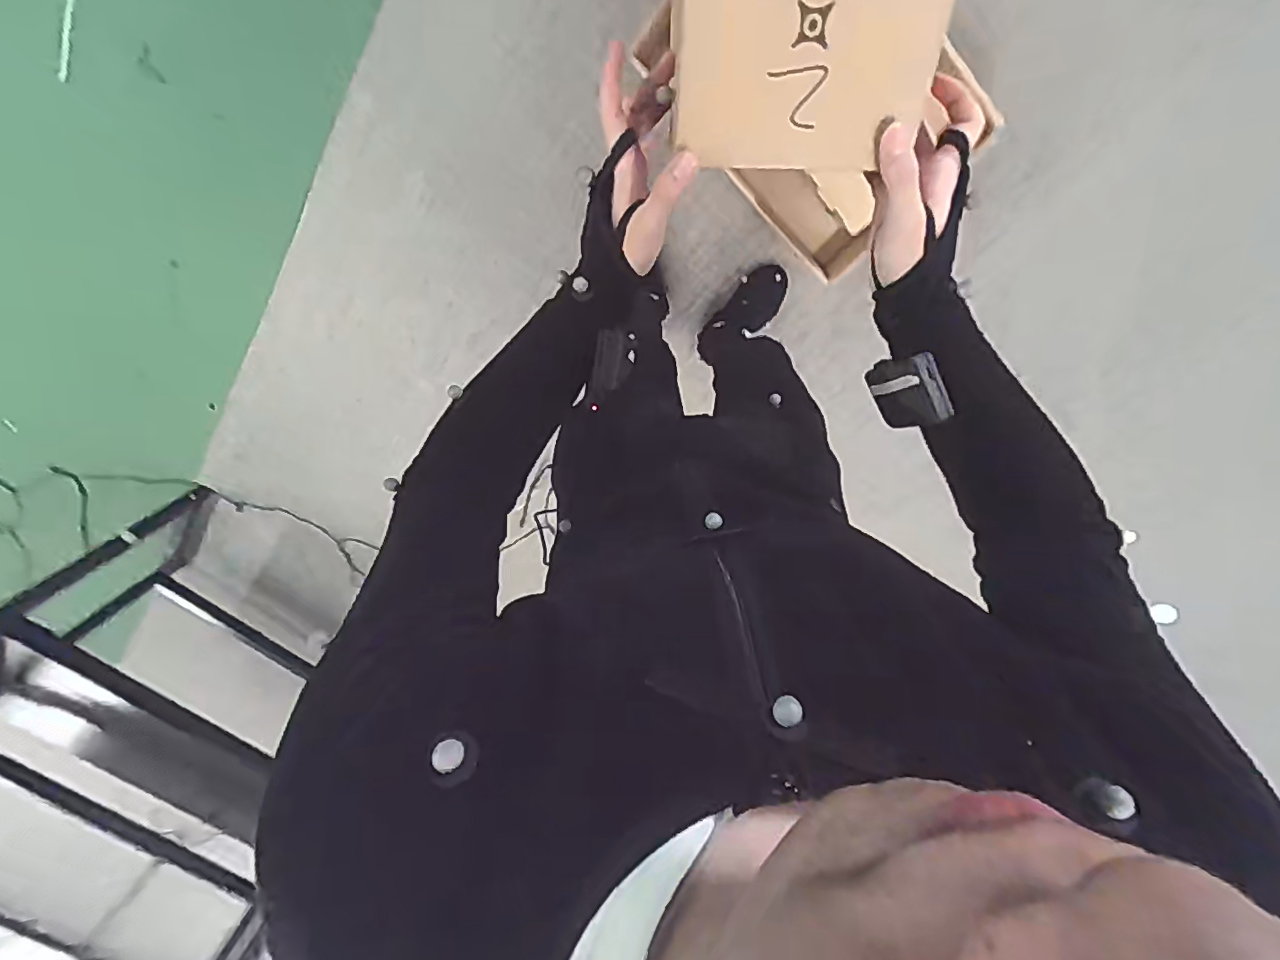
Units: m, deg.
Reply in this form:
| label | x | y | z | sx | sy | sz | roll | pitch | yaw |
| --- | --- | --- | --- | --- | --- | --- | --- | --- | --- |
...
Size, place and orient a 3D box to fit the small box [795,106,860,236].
| label | x | y | z | sx | sy | sz | roll | pitch | yaw |
| --- | --- | --- | --- | --- | --- | --- | --- | --- | --- |
| small box | 0.436 | -0.635 | 1.105 | 0.168 | 0.176 | 0.179 | -37 | 106 | 28 |

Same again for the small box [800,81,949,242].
| label | x | y | z | sx | sy | sz | roll | pitch | yaw |
| --- | --- | --- | --- | --- | --- | --- | --- | --- | --- |
| small box | 0.405 | -0.559 | 0.965 | 0.179 | 0.176 | 0.168 | -37 | 107 | 28 |
